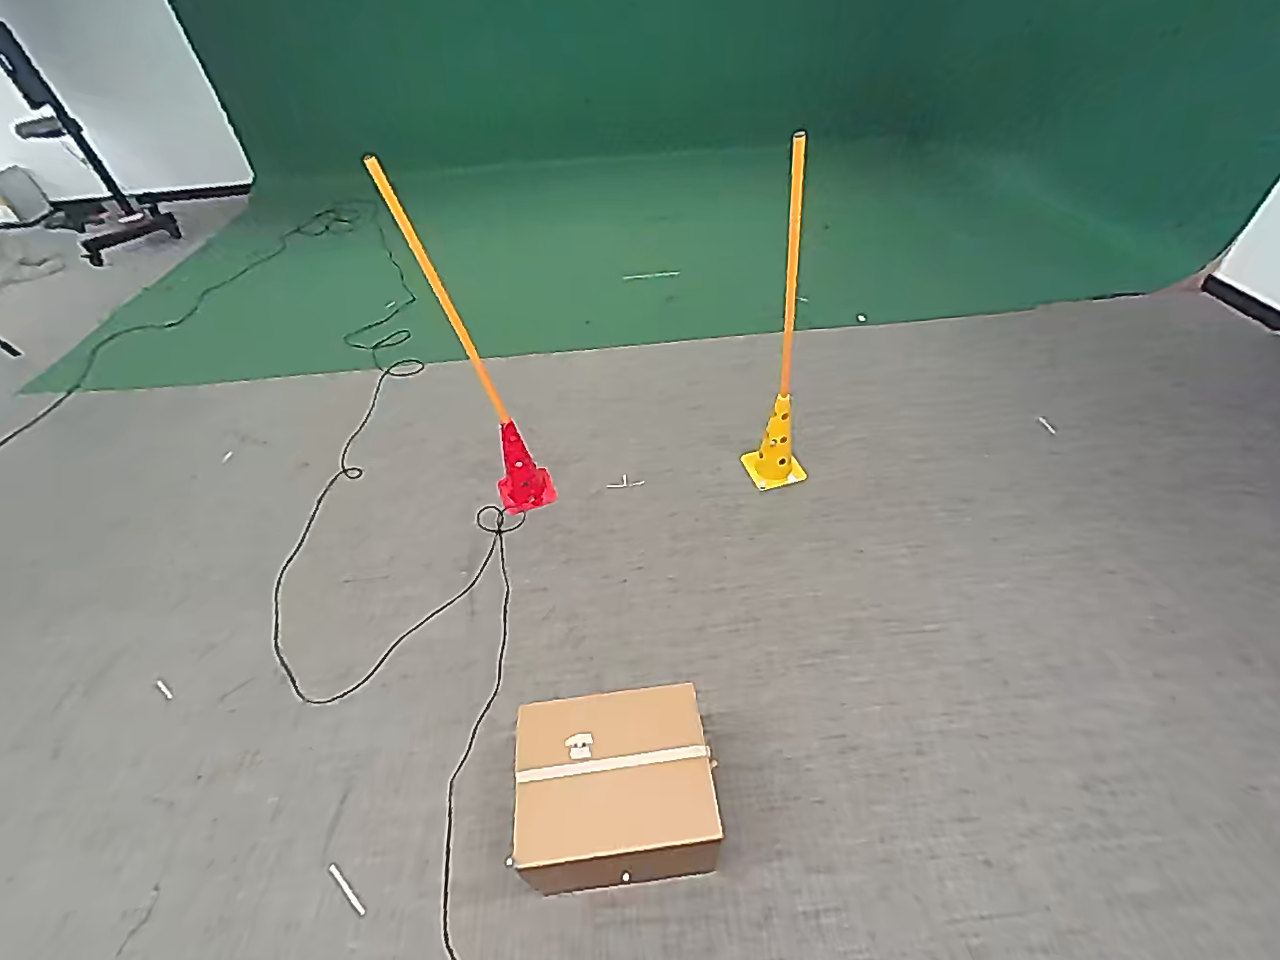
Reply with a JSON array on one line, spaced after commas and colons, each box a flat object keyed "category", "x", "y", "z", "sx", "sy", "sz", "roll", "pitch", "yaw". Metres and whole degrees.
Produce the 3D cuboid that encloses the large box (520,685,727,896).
[{"category": "large box", "x": -0.037, "y": 0.710, "z": 1.233, "sx": 0.408, "sy": 0.320, "sz": 0.320, "roll": -8, "pitch": 44, "yaw": -2}]
